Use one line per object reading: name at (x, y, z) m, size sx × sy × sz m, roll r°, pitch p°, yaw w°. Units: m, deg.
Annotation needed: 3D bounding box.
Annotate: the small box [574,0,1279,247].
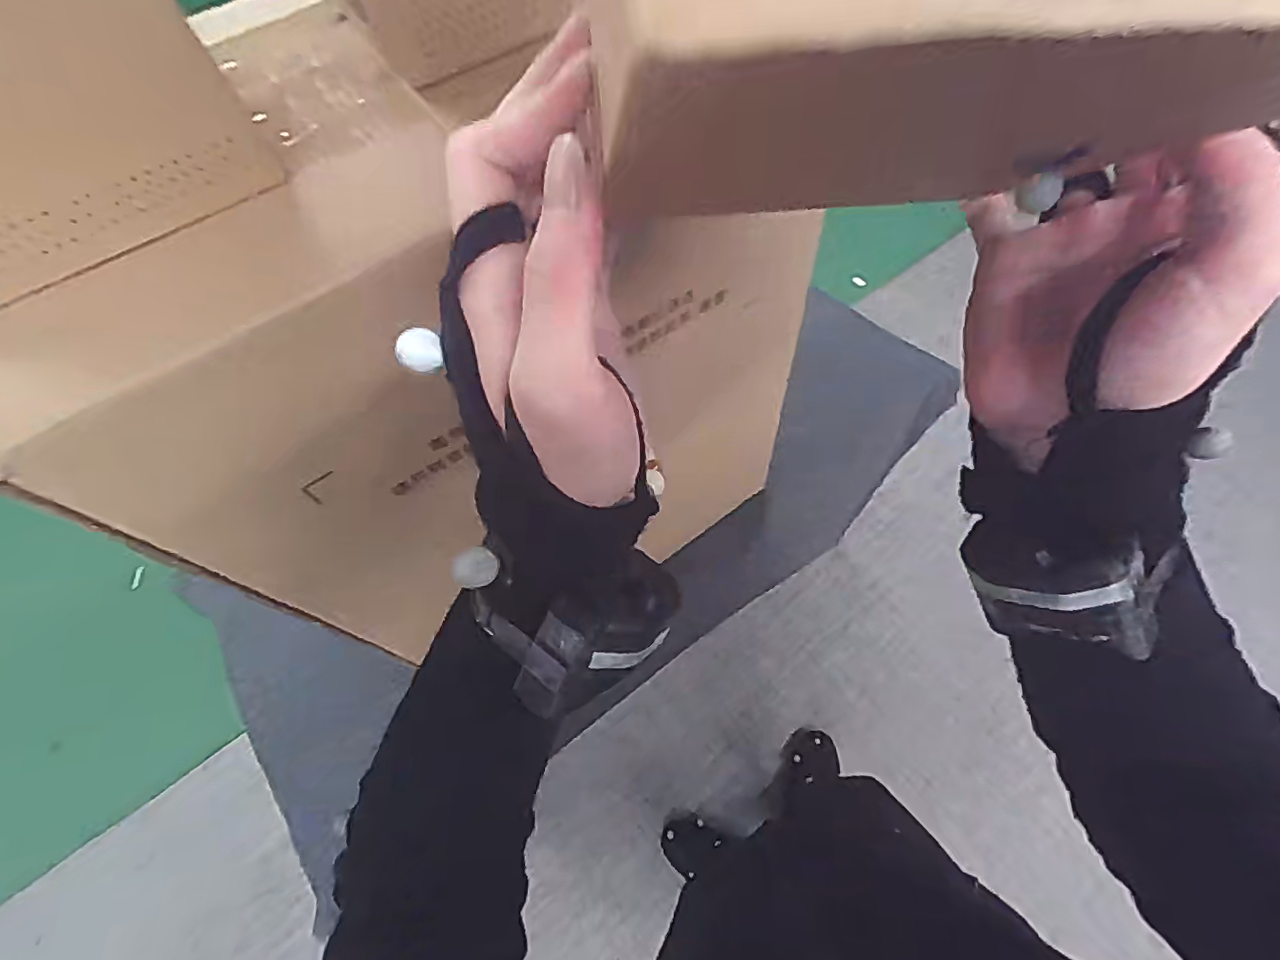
small box at (0.069, -0.164, 0.144) m, size 0.179 × 0.168 × 0.176 m, roll -6°, pitch 17°, yaw -3°
